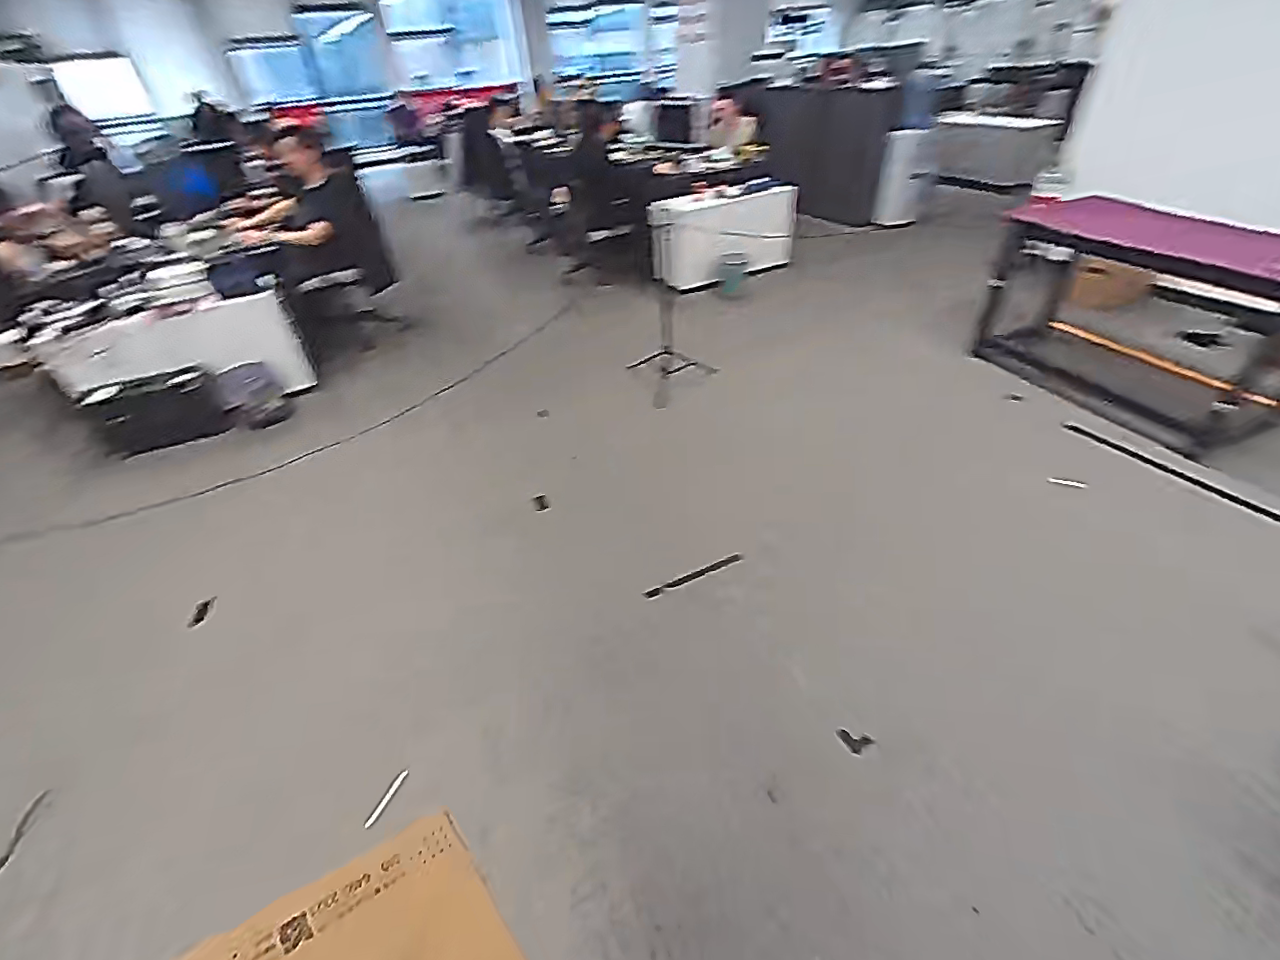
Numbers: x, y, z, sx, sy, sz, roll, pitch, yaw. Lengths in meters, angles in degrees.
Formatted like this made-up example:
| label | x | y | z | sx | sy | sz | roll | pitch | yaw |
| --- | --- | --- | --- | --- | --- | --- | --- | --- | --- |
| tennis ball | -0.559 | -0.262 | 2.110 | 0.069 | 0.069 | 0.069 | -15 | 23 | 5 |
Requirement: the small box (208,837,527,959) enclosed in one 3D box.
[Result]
| label | x | y | z | sx | sy | sz | roll | pitch | yaw |
| --- | --- | --- | --- | --- | --- | --- | --- | --- | --- |
| small box | -0.174 | 0.360 | 0.323 | 0.176 | 0.179 | 0.168 | 44 | 25 | 29 |
